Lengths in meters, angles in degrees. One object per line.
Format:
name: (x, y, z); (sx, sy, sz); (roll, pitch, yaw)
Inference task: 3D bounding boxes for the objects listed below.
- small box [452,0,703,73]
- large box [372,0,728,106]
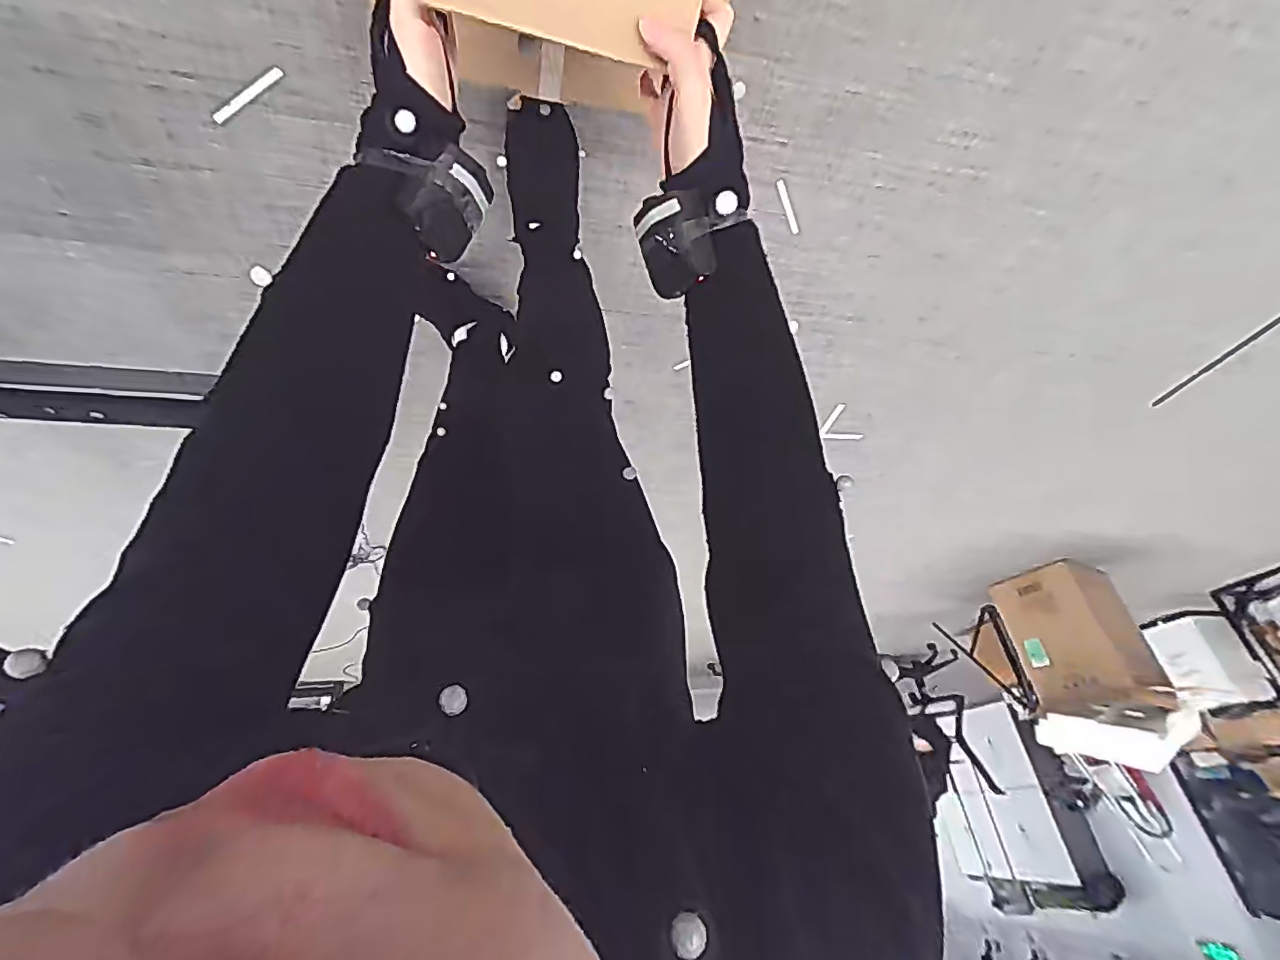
small box: (-0.040, -0.386, 0.330); (0.168, 0.176, 0.179); (5, 131, -15)
large box: (-0.062, -0.624, 0.450); (0.320, 0.320, 0.408); (2, 146, -14)
